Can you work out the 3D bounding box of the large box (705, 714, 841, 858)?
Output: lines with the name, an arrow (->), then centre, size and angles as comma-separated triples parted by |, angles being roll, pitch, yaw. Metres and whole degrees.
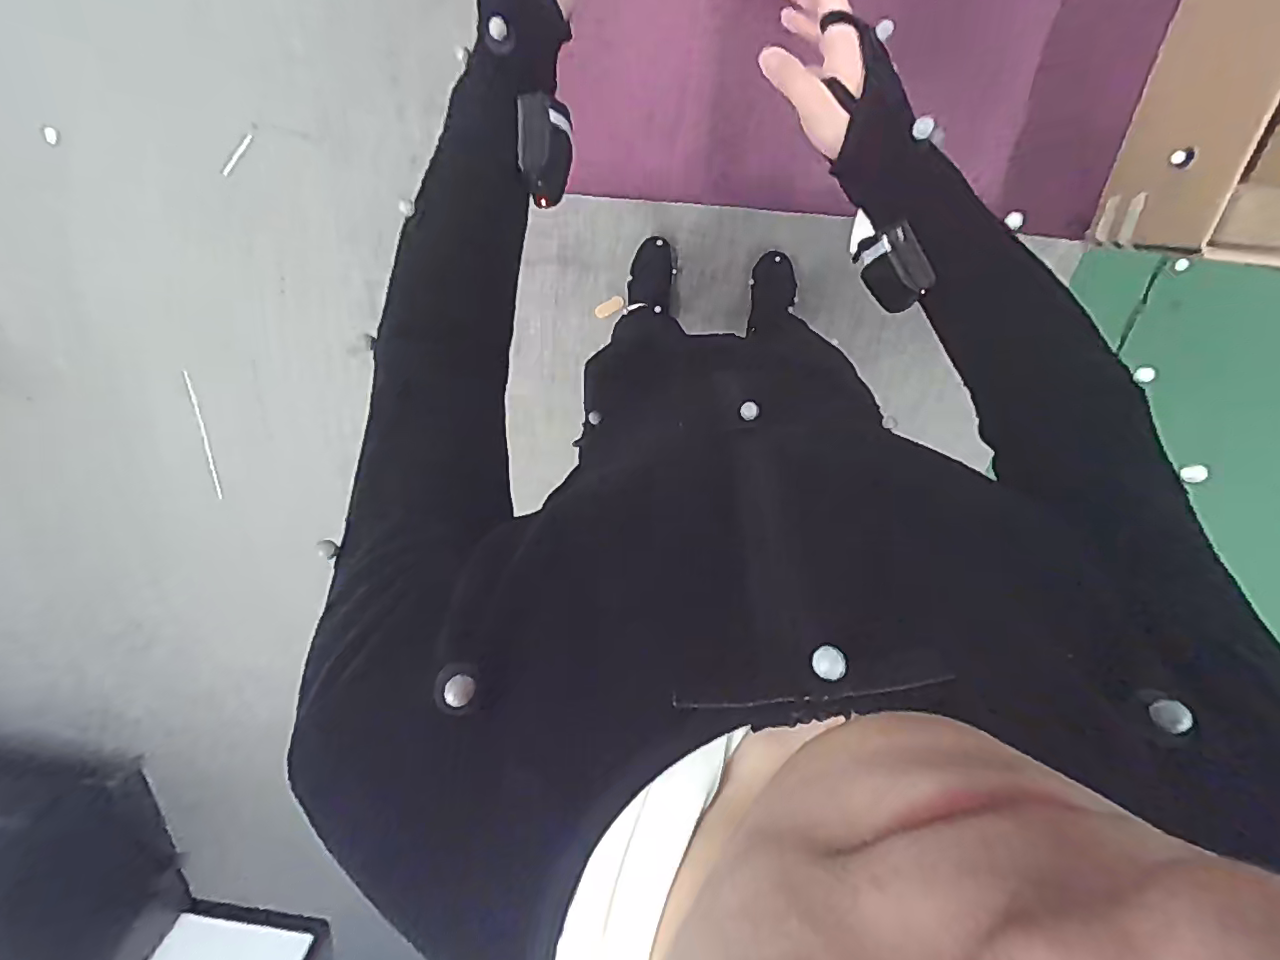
large box -> 0.494, 1.169, 2.078 | 0.408, 0.320, 0.320 | -22, 112, 14
